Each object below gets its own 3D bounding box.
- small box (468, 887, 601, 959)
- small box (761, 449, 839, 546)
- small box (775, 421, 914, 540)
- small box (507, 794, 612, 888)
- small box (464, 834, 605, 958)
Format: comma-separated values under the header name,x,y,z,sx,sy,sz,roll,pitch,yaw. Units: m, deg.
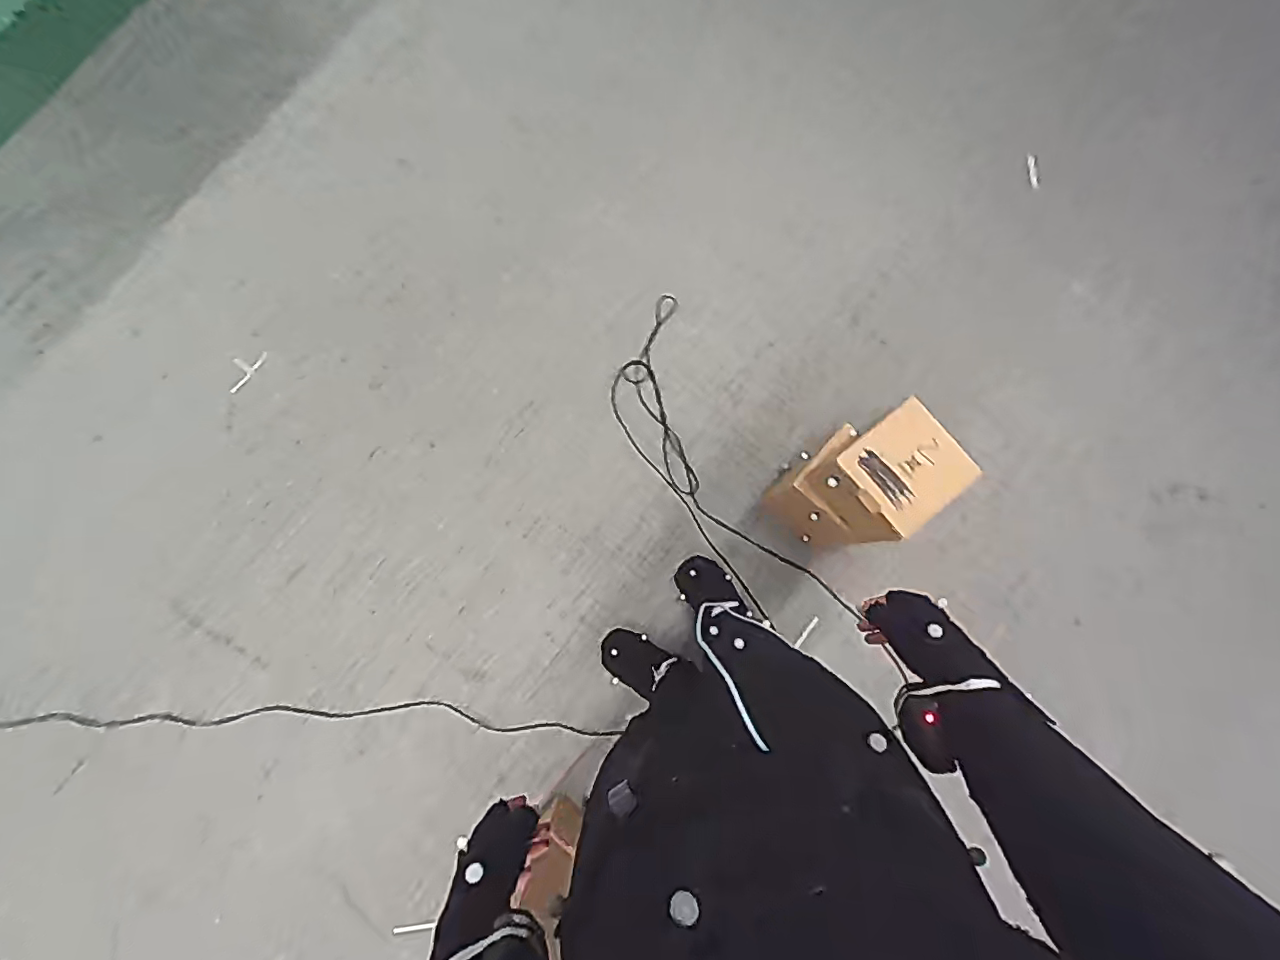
name,x,y,z,sx,sy,sz,roll,pitch,yaw
small box,-0.177,0.795,0.837,0.179,0.176,0.168,40,85,6
small box,0.409,0.034,1.248,0.179,0.176,0.168,43,85,6
small box,0.402,0.012,1.102,0.179,0.176,0.168,41,84,5
small box,-0.173,0.825,1.163,0.168,0.176,0.179,39,85,6
small box,-0.181,0.810,0.999,0.179,0.176,0.168,40,85,6
